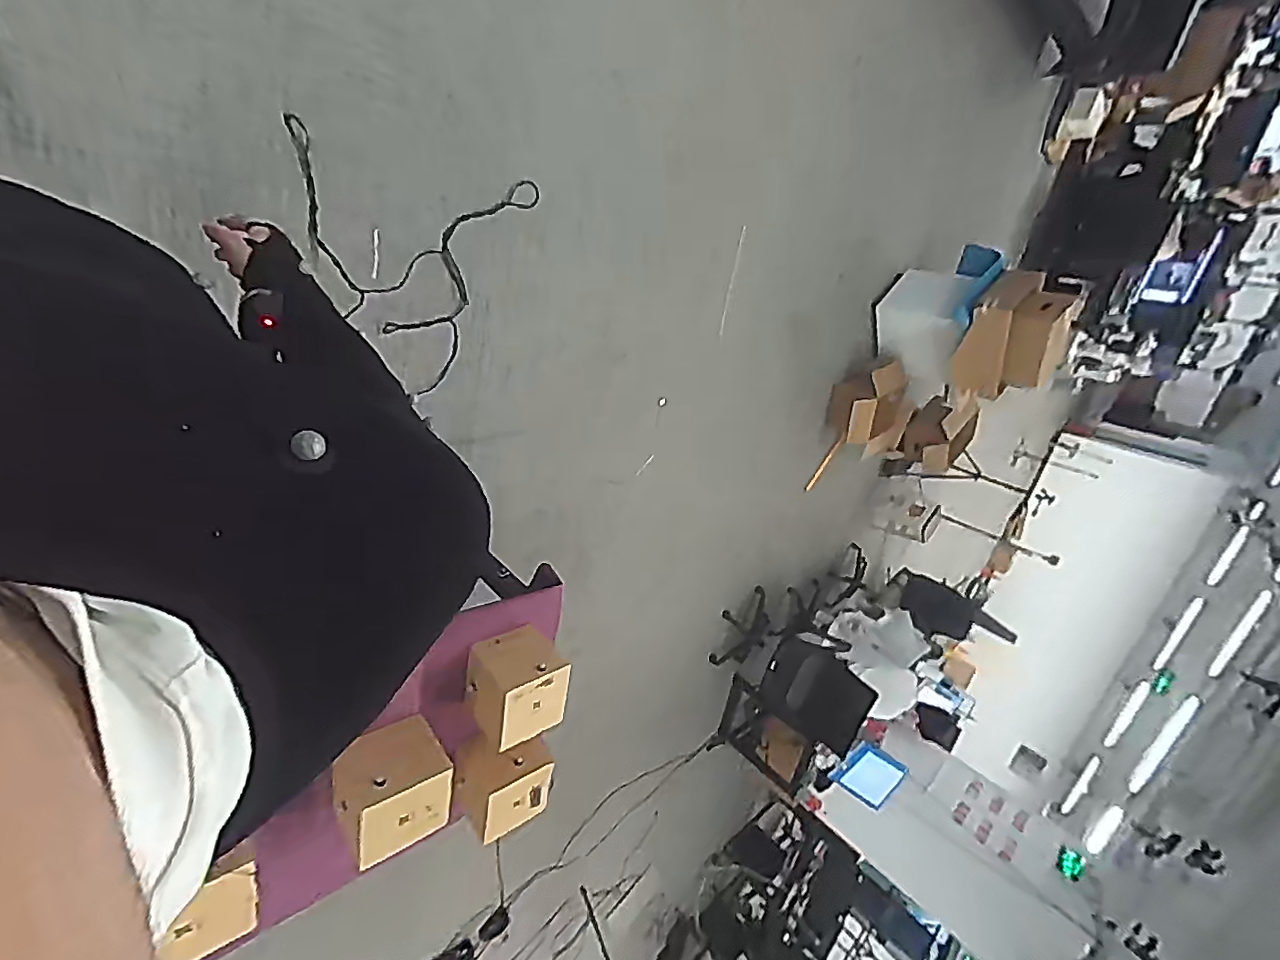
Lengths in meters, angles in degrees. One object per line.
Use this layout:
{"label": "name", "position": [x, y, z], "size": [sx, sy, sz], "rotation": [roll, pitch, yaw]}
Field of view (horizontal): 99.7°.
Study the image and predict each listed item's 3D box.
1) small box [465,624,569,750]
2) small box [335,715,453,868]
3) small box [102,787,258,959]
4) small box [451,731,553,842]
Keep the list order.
{"label": "small box", "position": [-0.288, 0.467, 1.245], "size": [0.168, 0.176, 0.179], "rotation": [-11, 122, -43]}
{"label": "small box", "position": [-0.509, 0.624, 1.107], "size": [0.179, 0.176, 0.168], "rotation": [-8, 119, -44]}
{"label": "small box", "position": [-0.744, 0.652, 0.878], "size": [0.179, 0.176, 0.168], "rotation": [-9, 118, -45]}
{"label": "small box", "position": [-0.346, 0.734, 1.346], "size": [0.179, 0.176, 0.168], "rotation": [-8, 118, -43]}
